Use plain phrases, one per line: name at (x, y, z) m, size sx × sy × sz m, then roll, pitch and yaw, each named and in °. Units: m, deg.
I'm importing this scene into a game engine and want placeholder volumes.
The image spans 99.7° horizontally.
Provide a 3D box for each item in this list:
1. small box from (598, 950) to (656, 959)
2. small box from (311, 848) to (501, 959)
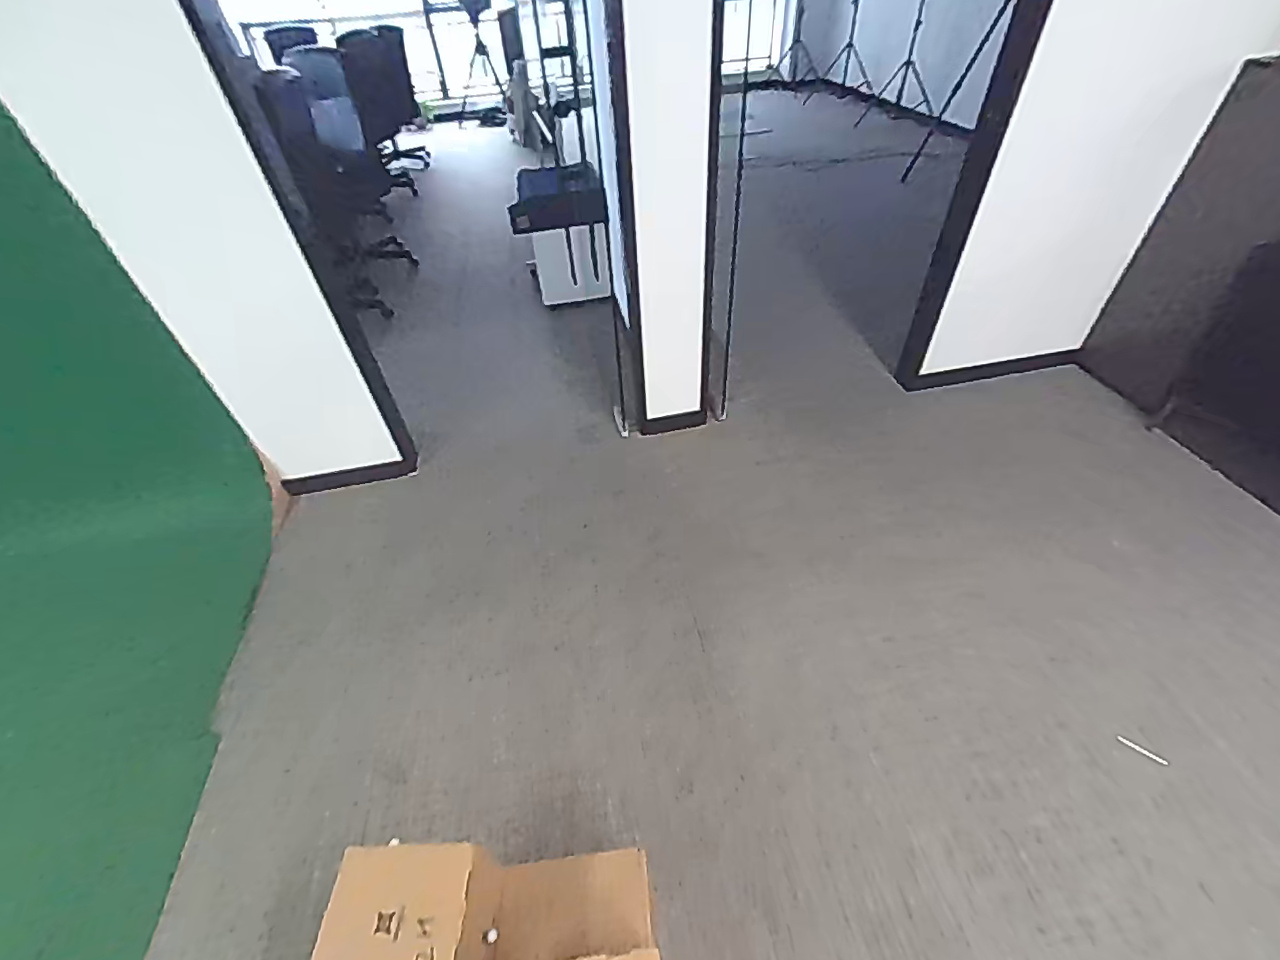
small box at (-0.047, 0.672, 0.618) m, size 0.168 × 0.176 × 0.179 m, roll -8°, pitch 44°, yaw -5°
small box at (-0.298, 0.601, 0.709) m, size 0.179 × 0.176 × 0.168 m, roll -2°, pitch 44°, yaw 1°
